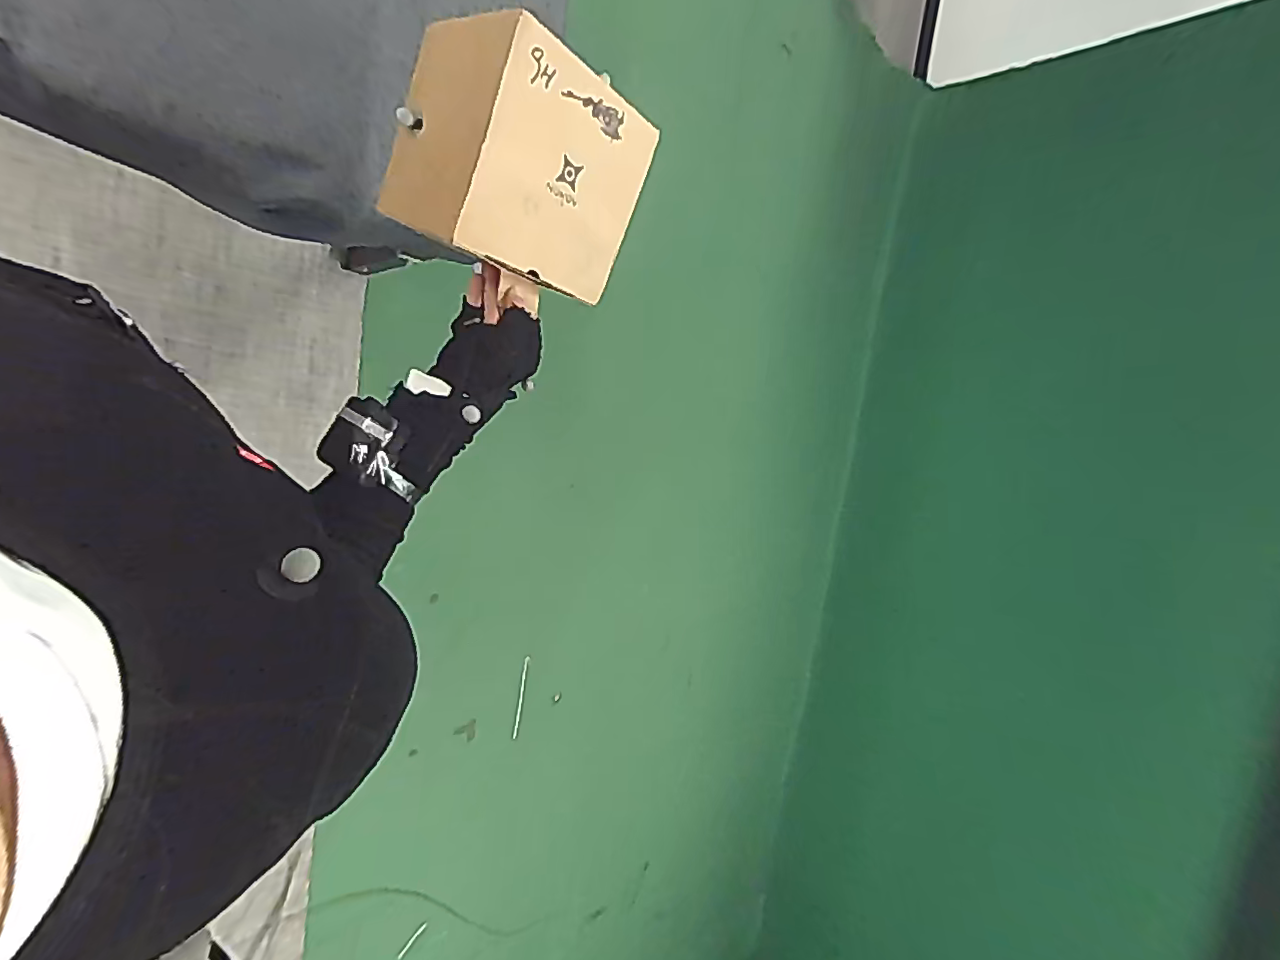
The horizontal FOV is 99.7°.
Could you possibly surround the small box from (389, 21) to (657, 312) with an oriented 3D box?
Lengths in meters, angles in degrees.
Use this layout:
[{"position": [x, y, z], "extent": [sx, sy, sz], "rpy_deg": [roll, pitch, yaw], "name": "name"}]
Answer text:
[{"position": [-0.121, -0.294, 0.527], "extent": [0.168, 0.176, 0.179], "rpy_deg": [7, 113, -50], "name": "small box"}]
